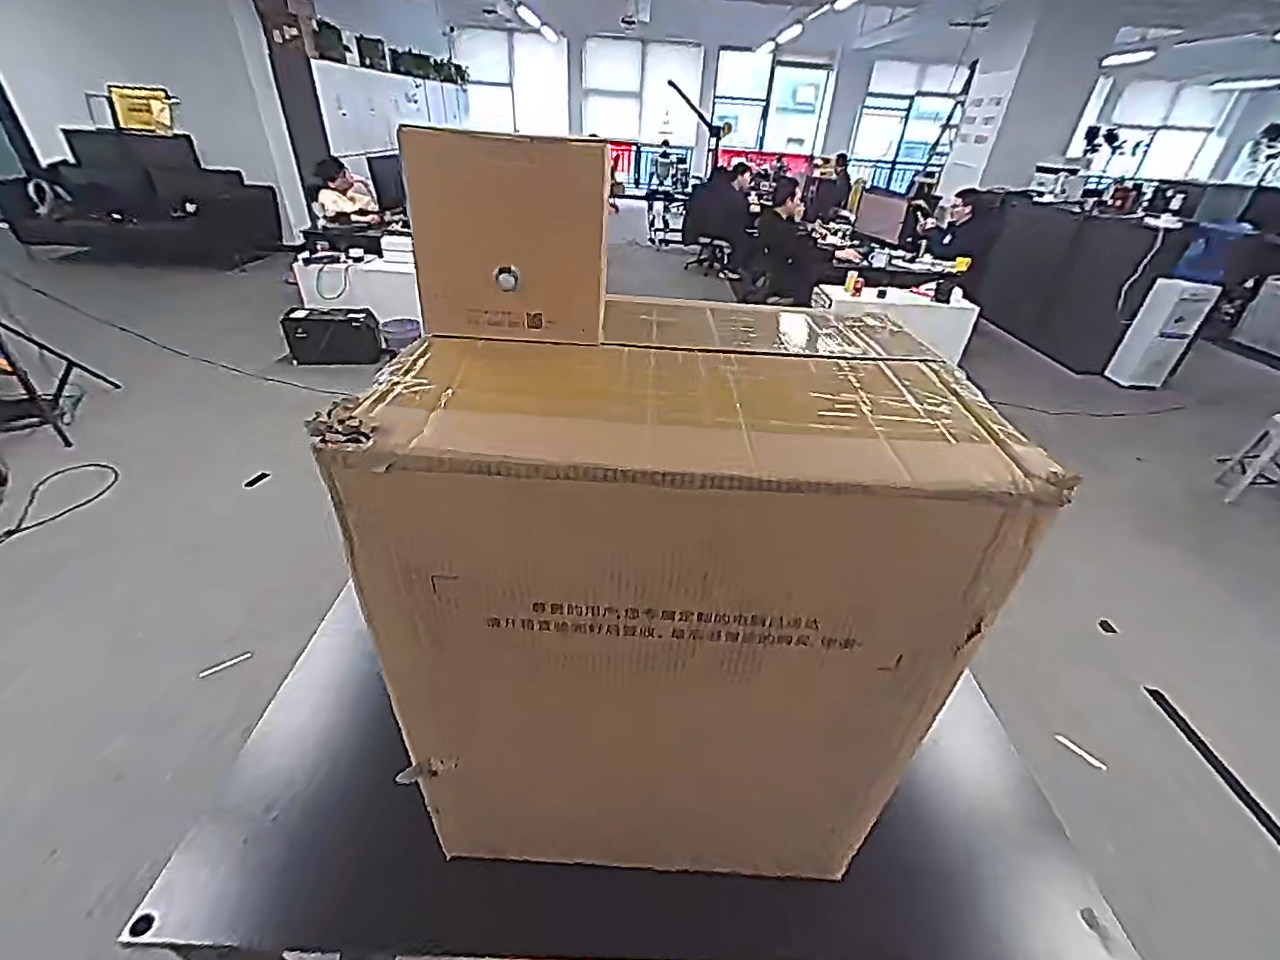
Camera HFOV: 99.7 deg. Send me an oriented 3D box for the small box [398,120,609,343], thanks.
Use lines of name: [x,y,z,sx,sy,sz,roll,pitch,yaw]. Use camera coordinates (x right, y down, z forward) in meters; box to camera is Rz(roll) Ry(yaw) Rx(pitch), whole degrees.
small box: [-0.118,-0.248,0.541,0.168,0.176,0.179,2,32,-3]
